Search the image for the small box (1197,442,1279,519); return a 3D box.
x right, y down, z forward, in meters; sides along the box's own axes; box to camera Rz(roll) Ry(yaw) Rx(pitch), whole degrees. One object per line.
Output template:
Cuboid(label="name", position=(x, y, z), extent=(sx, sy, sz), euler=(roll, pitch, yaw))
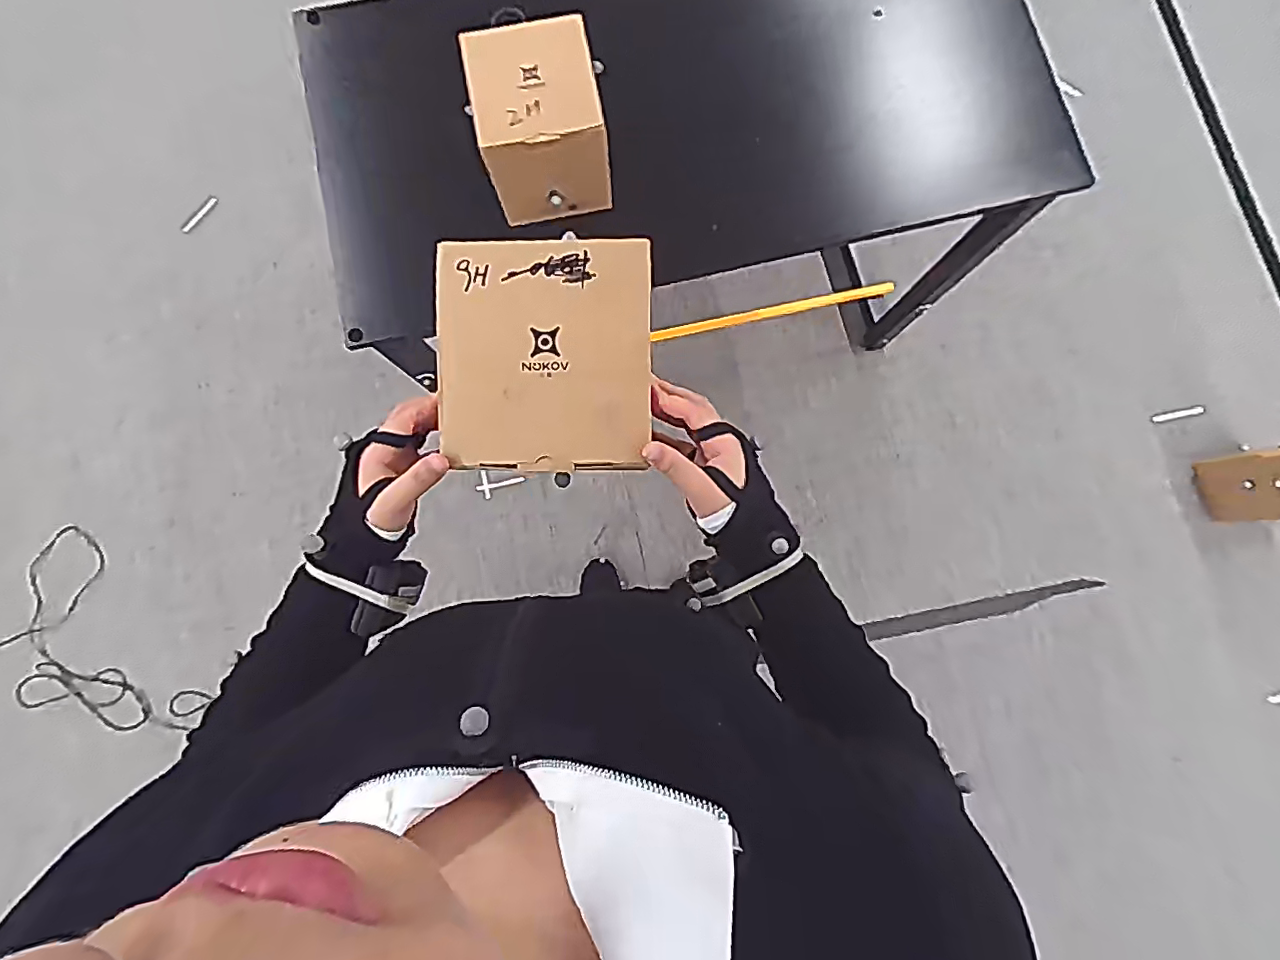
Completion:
Cuboid(label="small box", position=(1.661, -0.001, 1.441), extent=(0.168, 0.176, 0.179), euler=(-14, 83, -1))

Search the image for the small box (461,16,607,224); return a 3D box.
Cuboid(label="small box", position=(-0.146, -0.514, 0.791), extent=(0.168, 0.176, 0.179), euler=(-11, 82, -1))

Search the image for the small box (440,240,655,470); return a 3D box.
Cuboid(label="small box", position=(-0.070, -0.099, 0.497), extent=(0.168, 0.176, 0.179), euler=(0, 91, 1))

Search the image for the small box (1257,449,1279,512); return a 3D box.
Cuboid(label="small box", position=(1.658, -0.019, 1.279), extent=(0.179, 0.176, 0.168), euler=(-17, 81, 0))
